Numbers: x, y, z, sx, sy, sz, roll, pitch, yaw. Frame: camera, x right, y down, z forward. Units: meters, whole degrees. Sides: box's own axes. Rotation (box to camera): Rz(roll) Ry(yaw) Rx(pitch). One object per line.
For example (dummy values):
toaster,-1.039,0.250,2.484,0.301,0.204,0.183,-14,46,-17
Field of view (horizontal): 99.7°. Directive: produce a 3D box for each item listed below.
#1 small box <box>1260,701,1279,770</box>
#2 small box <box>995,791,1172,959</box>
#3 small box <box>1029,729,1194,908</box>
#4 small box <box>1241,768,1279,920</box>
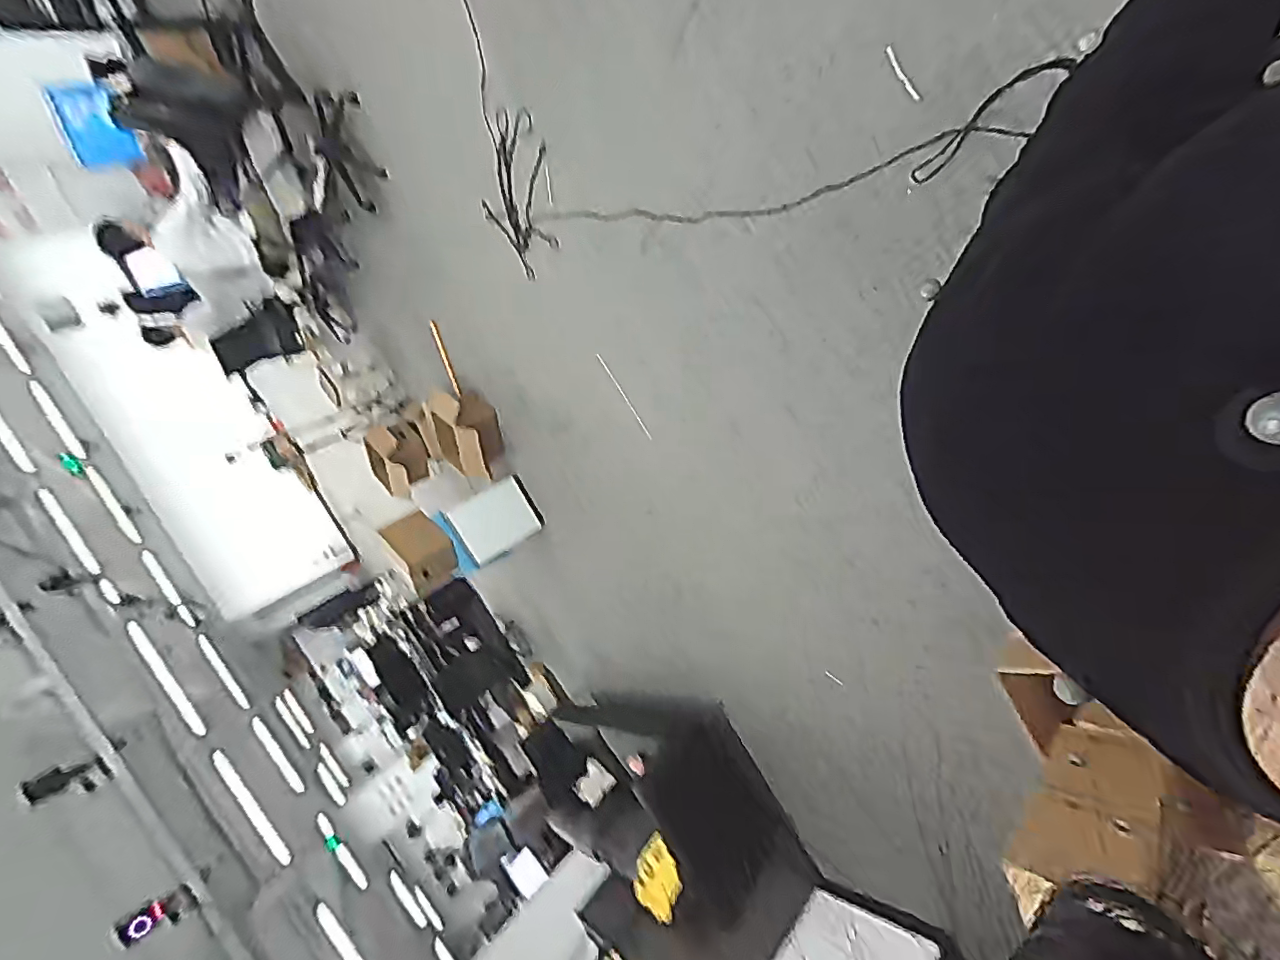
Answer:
small box,1.091,0.461,0.807,0.179,0.176,0.168,58,146,0
small box,0.704,0.642,0.858,0.168,0.176,0.179,-10,108,55
small box,0.824,0.572,0.945,0.168,0.176,0.179,-16,103,56
small box,0.964,0.523,0.723,0.179,0.176,0.168,59,147,0
